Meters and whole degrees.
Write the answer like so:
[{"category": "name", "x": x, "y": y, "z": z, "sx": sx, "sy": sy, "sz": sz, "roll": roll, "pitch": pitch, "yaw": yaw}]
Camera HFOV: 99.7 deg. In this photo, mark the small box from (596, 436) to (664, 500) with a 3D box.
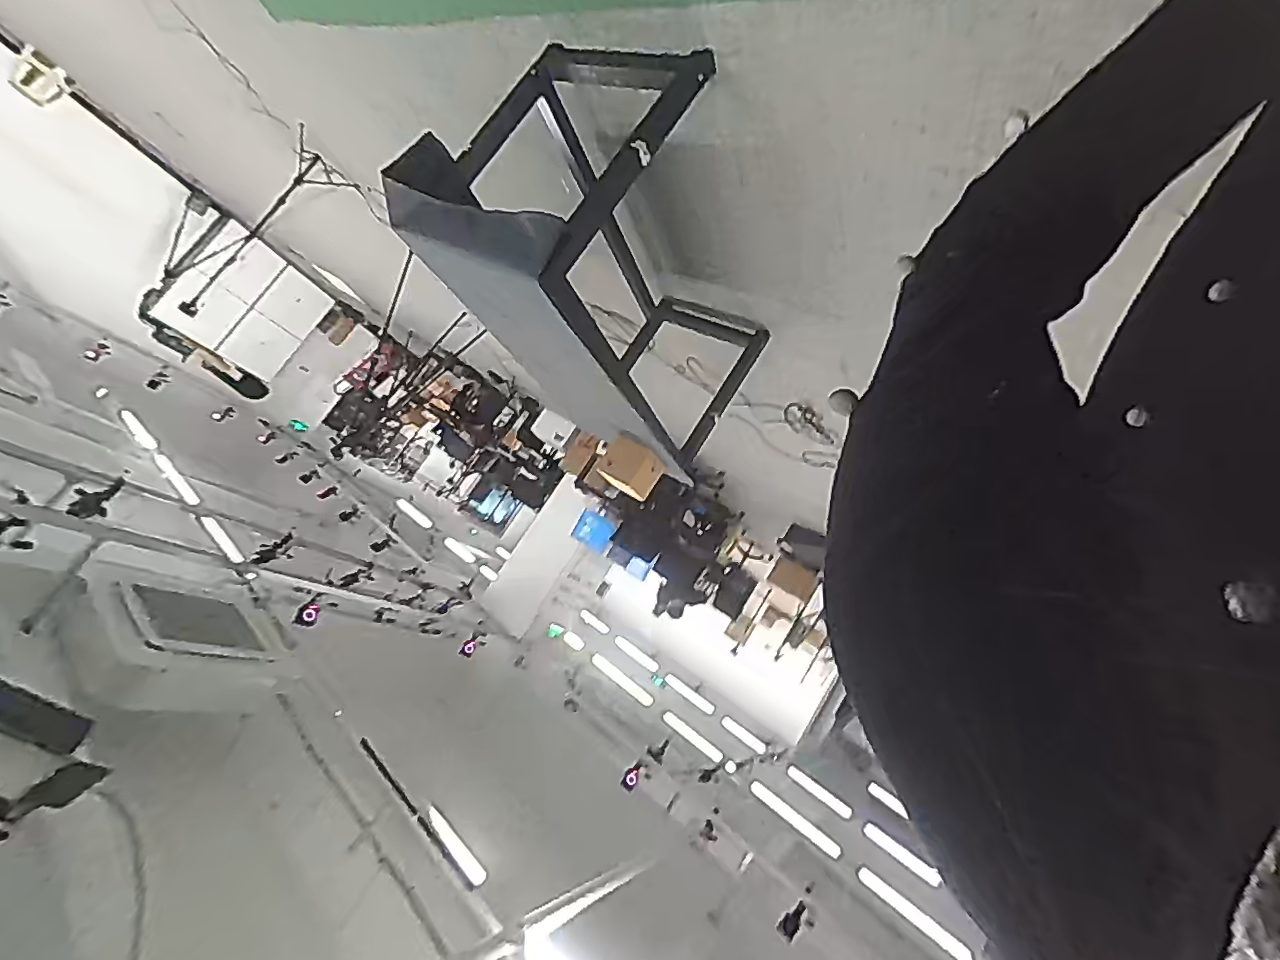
[{"category": "small box", "x": -0.034, "y": -0.054, "z": 2.125, "sx": 0.179, "sy": 0.176, "sz": 0.168, "roll": 28, "pitch": 170, "yaw": 31}]
